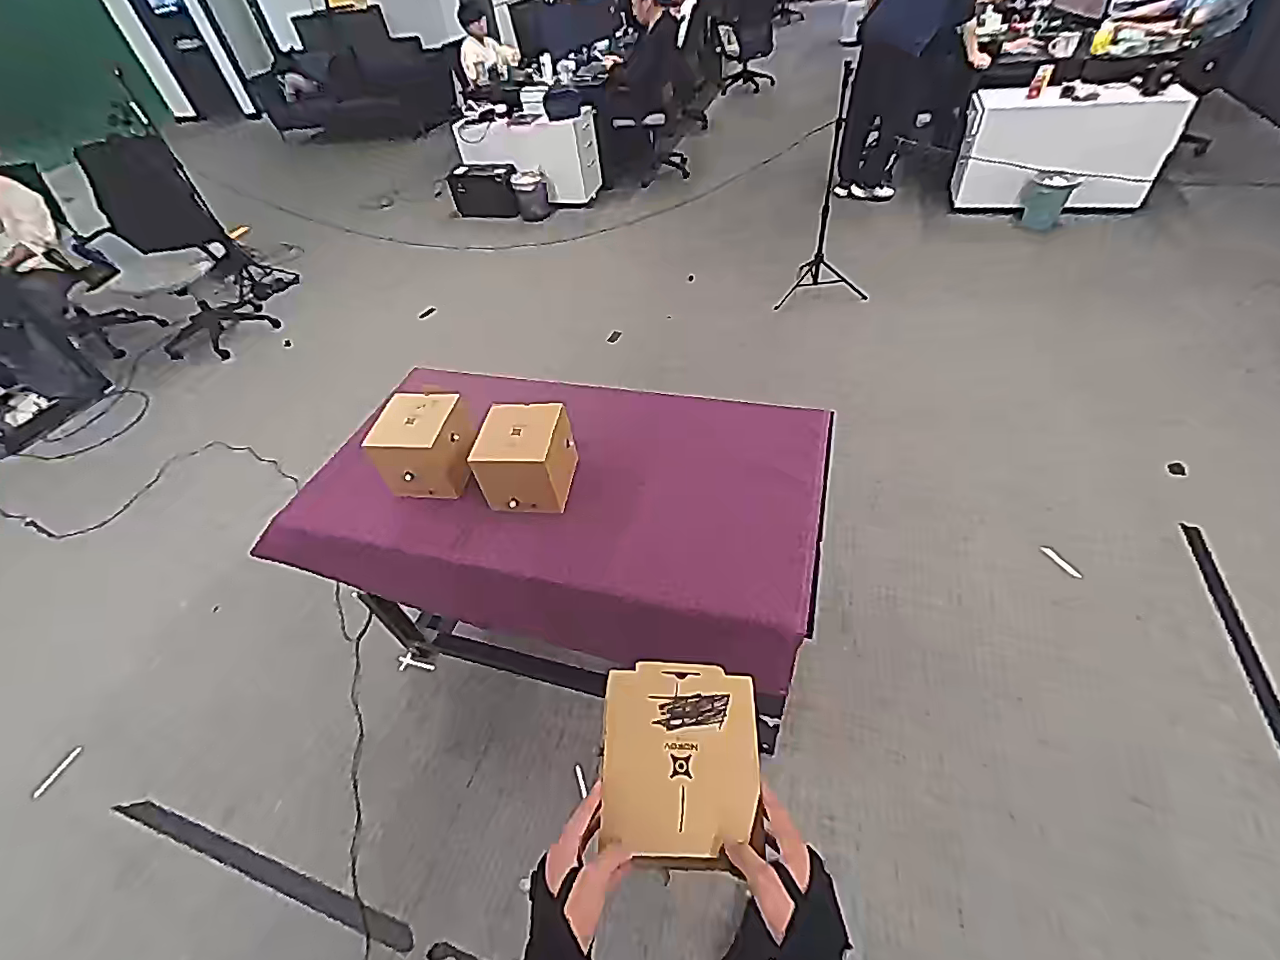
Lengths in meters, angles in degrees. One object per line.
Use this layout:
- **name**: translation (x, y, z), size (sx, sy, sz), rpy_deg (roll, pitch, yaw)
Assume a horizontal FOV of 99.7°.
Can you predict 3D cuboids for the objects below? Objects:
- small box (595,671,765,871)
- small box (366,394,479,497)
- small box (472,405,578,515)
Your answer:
- **small box**: translation (0.036, 0.344, 0.637), size (0.168, 0.176, 0.179), rpy_deg (4, 51, -3)
- **small box**: translation (-0.484, -0.077, 1.246), size (0.168, 0.176, 0.179), rpy_deg (3, 48, 10)
- **small box**: translation (-0.240, -0.045, 1.185), size (0.168, 0.176, 0.179), rpy_deg (1, 47, 10)
